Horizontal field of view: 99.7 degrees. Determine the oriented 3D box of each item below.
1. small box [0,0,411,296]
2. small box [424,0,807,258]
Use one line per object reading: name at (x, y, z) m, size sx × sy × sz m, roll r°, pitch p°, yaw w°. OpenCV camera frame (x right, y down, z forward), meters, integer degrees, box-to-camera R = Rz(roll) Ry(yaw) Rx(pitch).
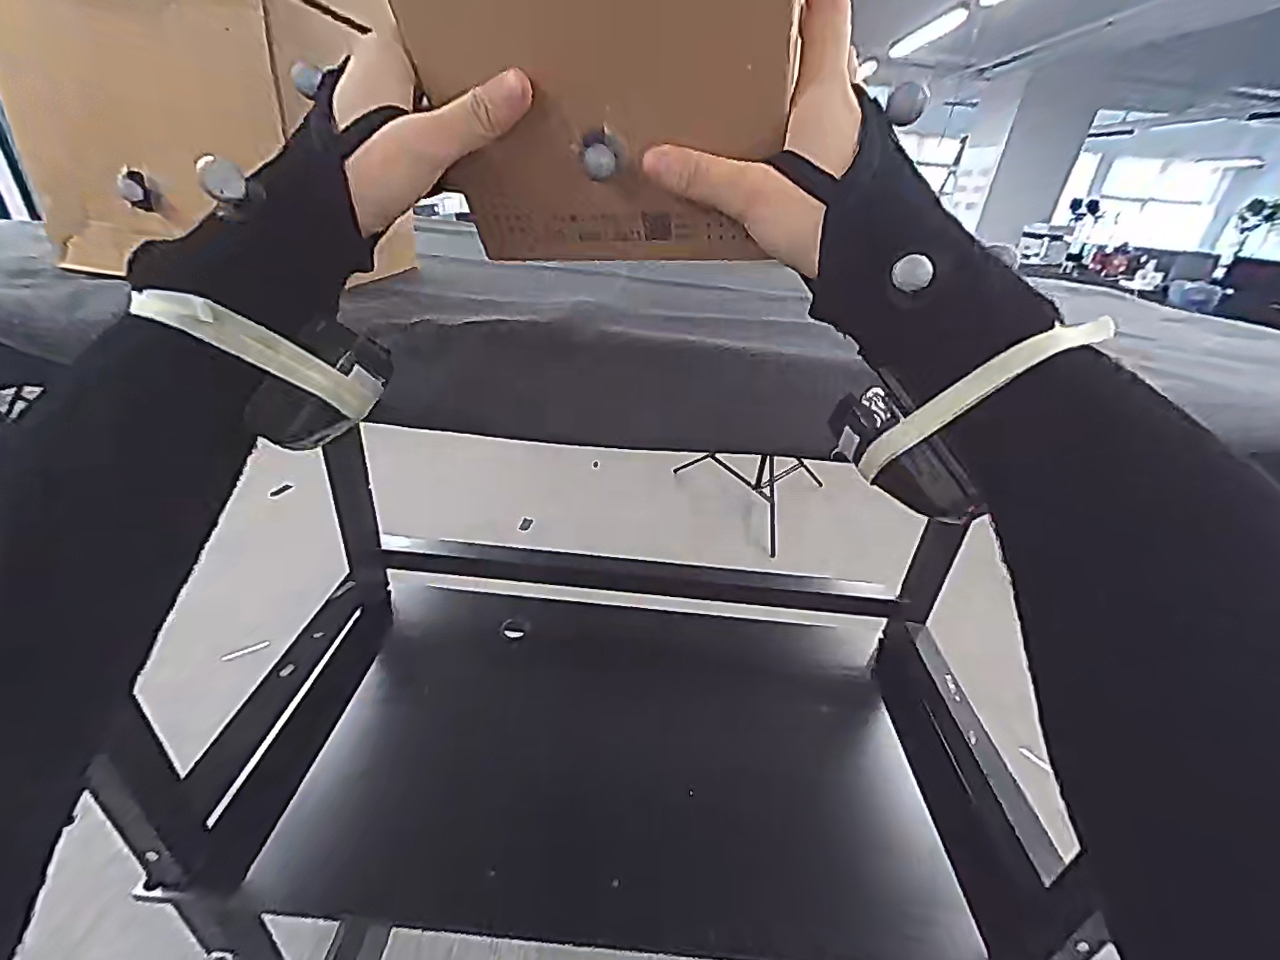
small box at (-0.280, -0.240, 0.389) m, size 0.168 × 0.176 × 0.179 m, roll 6°, pitch 28°, yaw -1°
small box at (0.001, -0.240, 0.285) m, size 0.168 × 0.176 × 0.179 m, roll 4°, pitch 54°, yaw 14°
